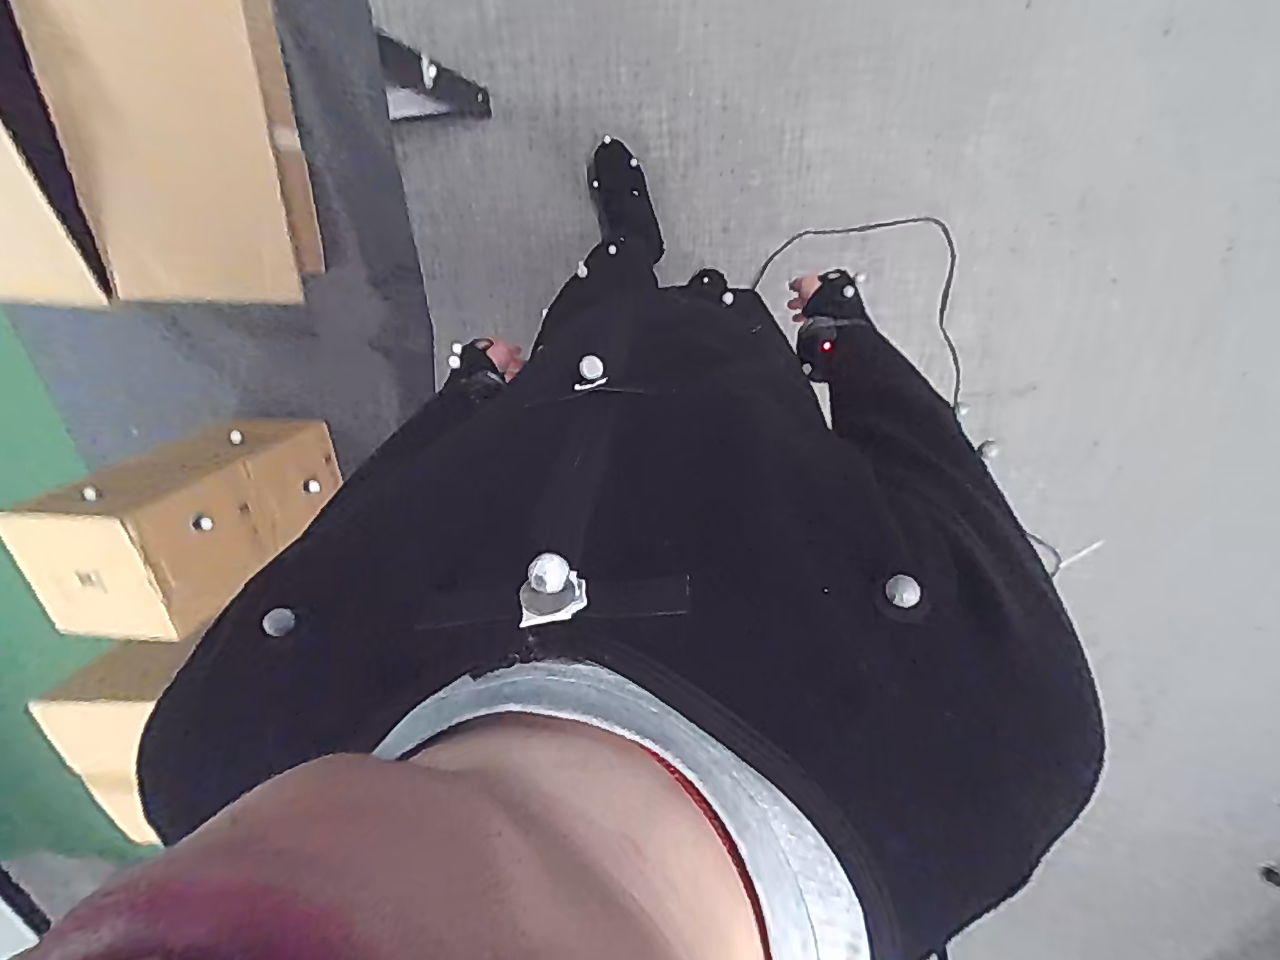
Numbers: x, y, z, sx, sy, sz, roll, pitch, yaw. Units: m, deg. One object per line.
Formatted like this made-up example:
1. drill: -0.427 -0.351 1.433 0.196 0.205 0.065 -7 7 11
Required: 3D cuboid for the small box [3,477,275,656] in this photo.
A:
1. small box: -0.618 0.104 0.702 0.179 0.176 0.168 1 116 9
